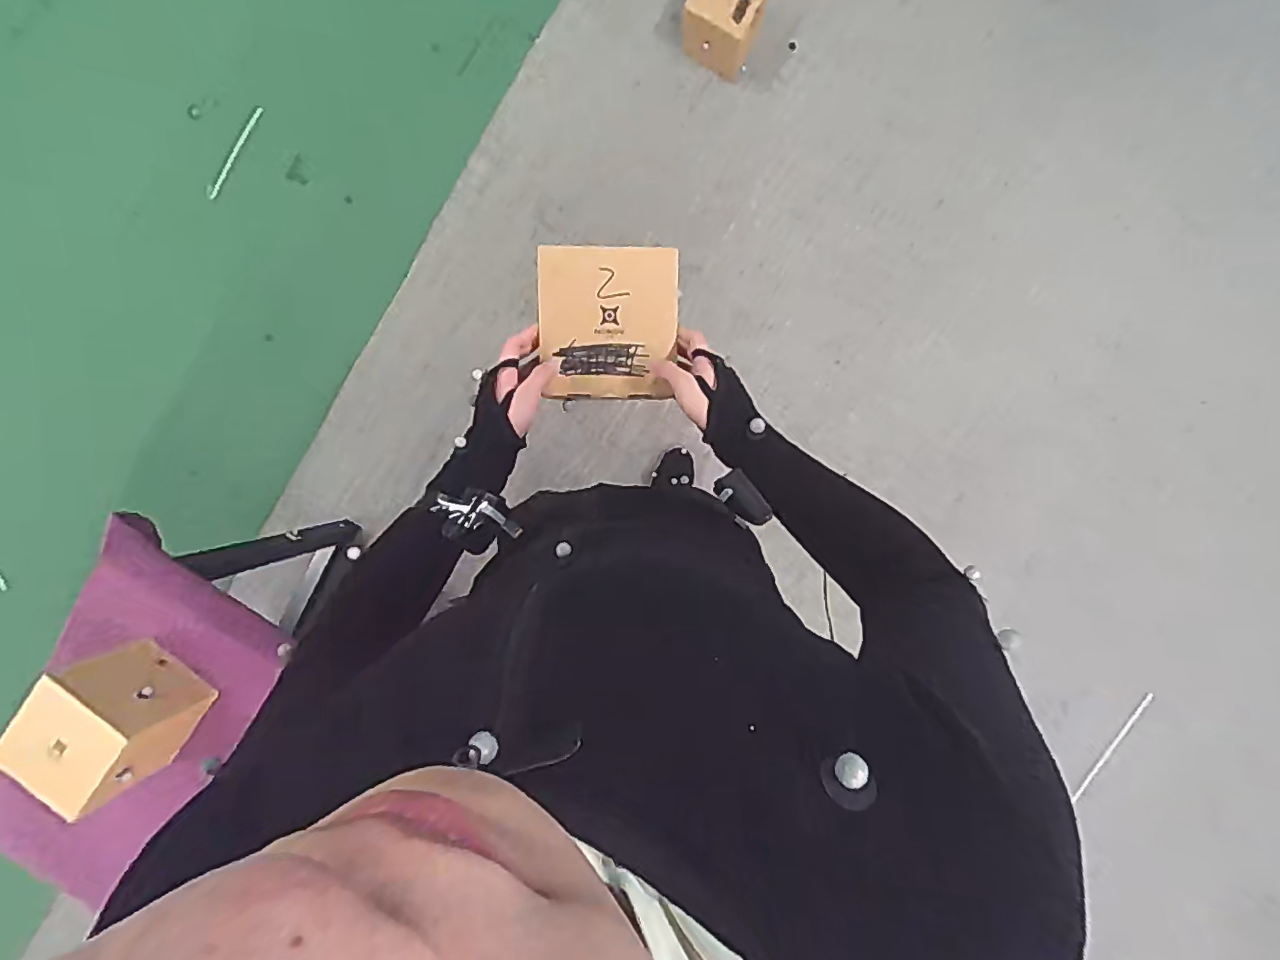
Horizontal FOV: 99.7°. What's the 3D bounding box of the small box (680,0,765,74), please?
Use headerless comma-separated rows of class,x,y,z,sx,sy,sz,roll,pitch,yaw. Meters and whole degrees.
small box,0.222,-1.240,1.443,0.179,0.176,0.168,32,94,2

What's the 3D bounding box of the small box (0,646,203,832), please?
small box,-0.872,0.406,0.880,0.168,0.176,0.179,38,96,0
